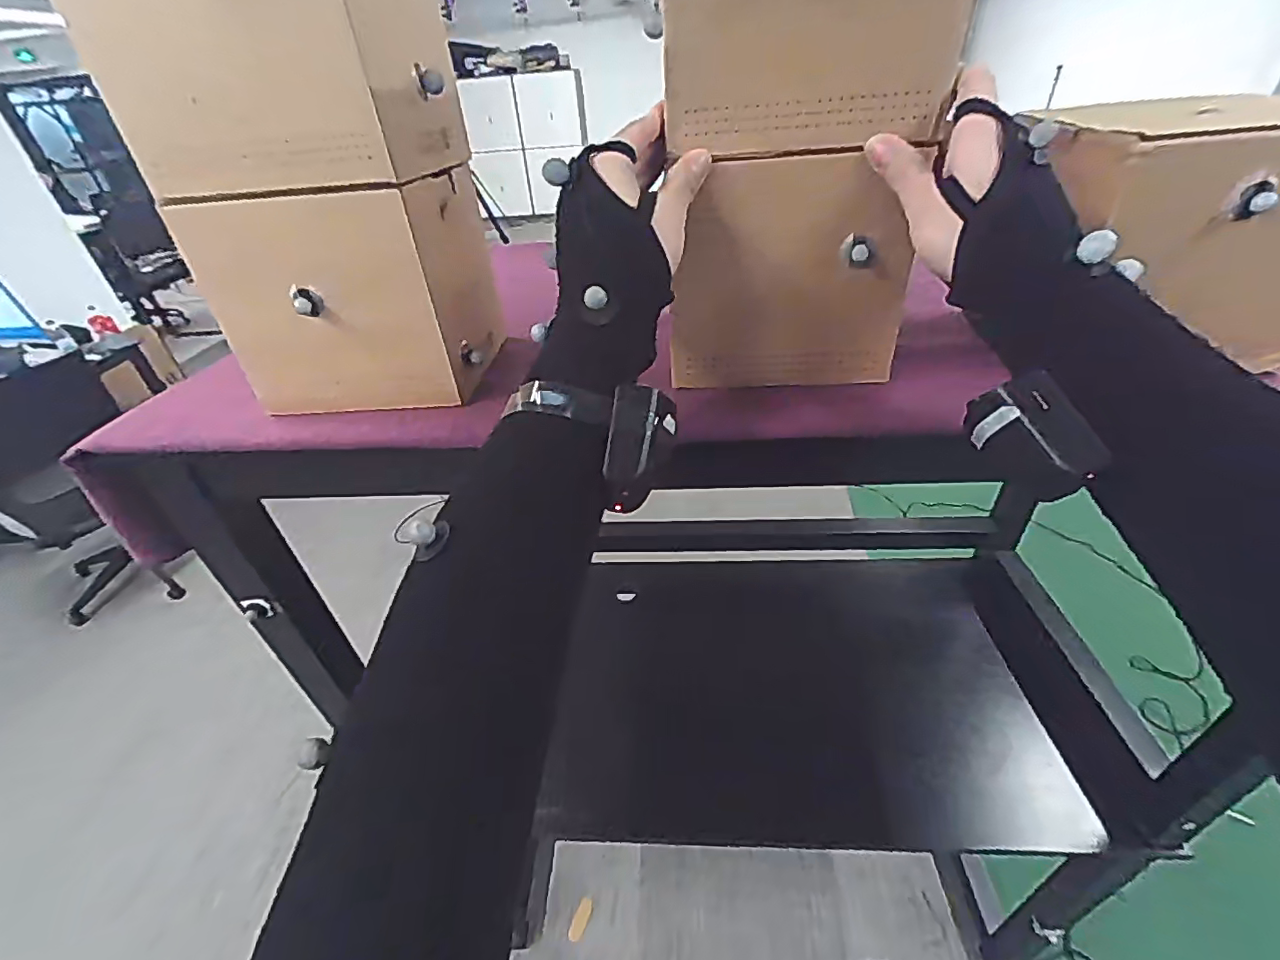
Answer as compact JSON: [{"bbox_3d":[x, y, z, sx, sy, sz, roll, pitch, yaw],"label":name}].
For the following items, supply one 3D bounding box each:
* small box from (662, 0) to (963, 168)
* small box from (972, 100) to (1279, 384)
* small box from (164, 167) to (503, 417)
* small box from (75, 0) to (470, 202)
[{"bbox_3d":[0.106,-0.320,0.366,0.179,0.176,0.168,-1,37,8],"label":"small box"},{"bbox_3d":[0.390,-0.185,0.423,0.179,0.176,0.168,0,38,7],"label":"small box"},{"bbox_3d":[-0.235,-0.168,0.477,0.179,0.176,0.168,-3,35,4],"label":"small box"},{"bbox_3d":[-0.245,-0.302,0.383,0.179,0.176,0.168,-1,36,5],"label":"small box"}]
